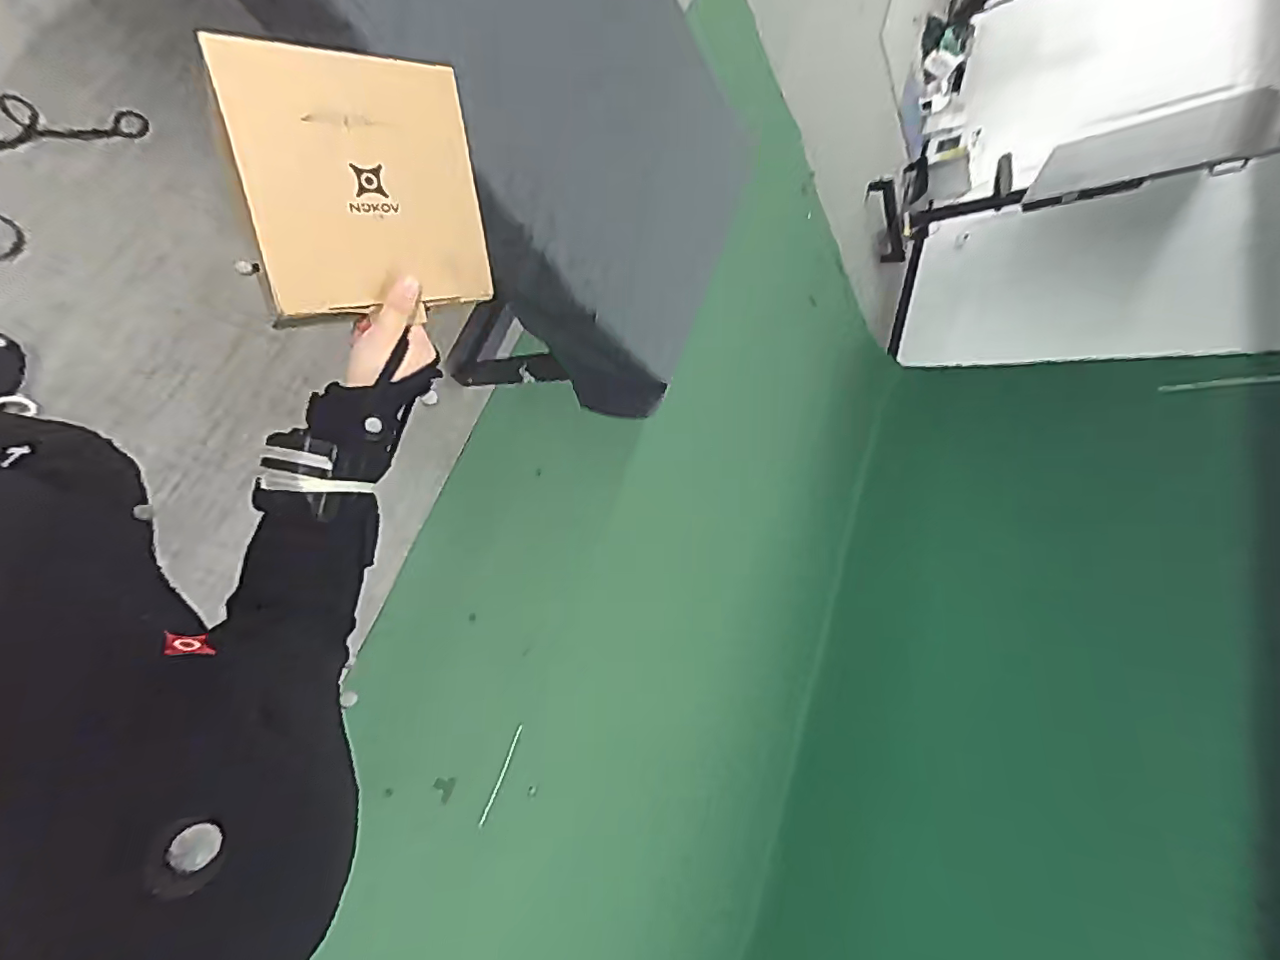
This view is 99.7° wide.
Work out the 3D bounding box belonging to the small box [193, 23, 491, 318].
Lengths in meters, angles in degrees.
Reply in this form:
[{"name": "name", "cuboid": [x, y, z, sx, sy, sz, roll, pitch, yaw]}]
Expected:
[{"name": "small box", "cuboid": [-0.251, -0.239, 0.469, 0.168, 0.176, 0.179, -19, 110, -33]}]
